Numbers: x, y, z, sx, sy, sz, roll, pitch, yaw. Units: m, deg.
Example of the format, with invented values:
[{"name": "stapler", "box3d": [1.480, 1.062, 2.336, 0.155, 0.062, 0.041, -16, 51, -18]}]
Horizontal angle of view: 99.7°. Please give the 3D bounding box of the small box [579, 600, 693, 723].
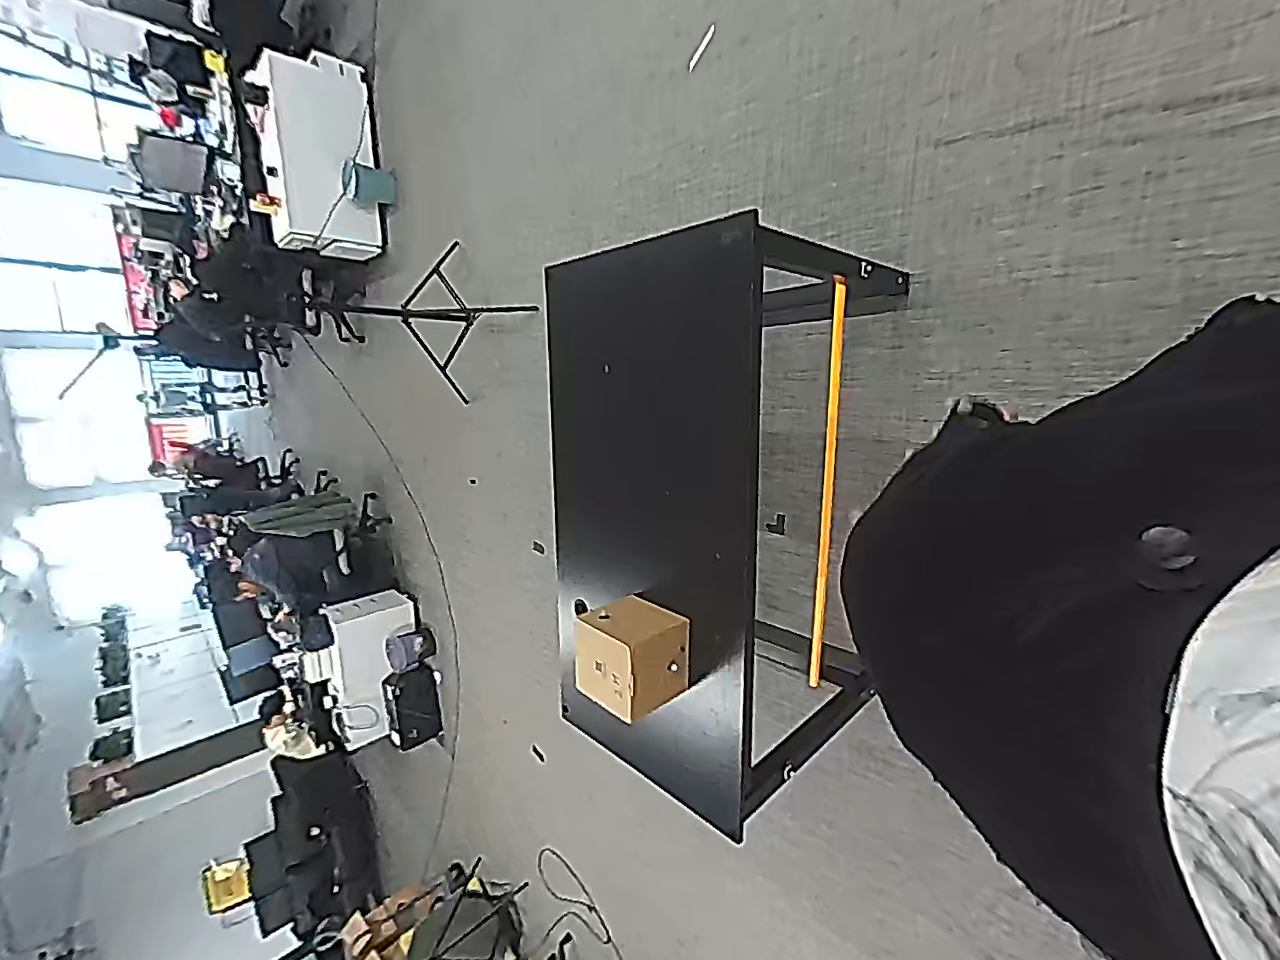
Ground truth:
[{"name": "small box", "box3d": [-0.011, 0.366, 1.135, 0.179, 0.176, 0.168, 12, 107, 45]}]
